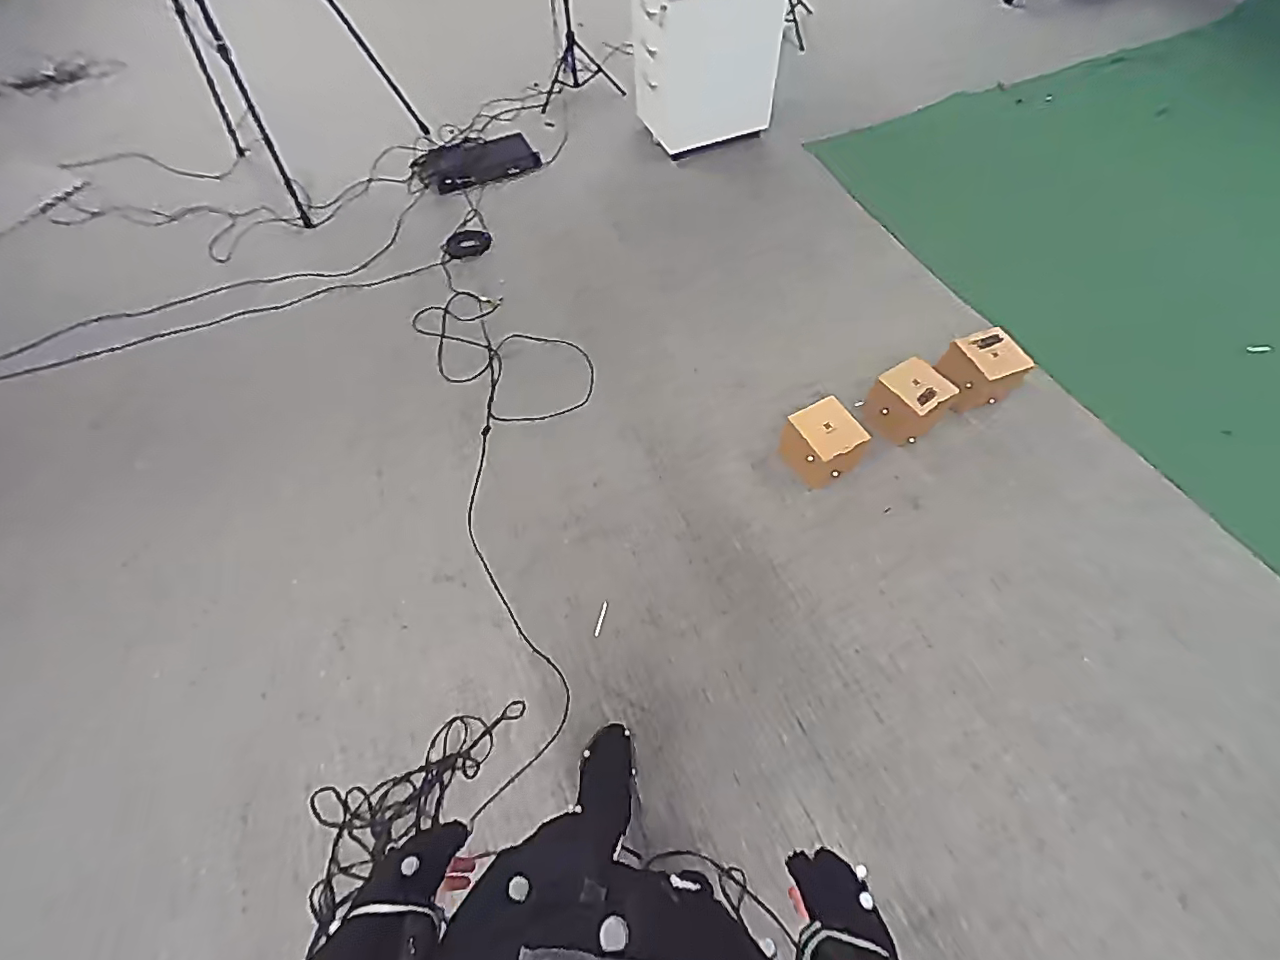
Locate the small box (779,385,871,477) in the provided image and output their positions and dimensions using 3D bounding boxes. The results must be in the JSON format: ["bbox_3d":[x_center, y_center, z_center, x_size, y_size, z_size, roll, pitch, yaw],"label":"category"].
[{"bbox_3d":[0.534,-0.141,1.591,0.168,0.176,0.179,-26,64,-11],"label":"small box"}]

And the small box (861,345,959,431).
[{"bbox_3d":[0.817,-0.272,1.653,0.168,0.176,0.179,-30,63,-14],"label":"small box"}]
